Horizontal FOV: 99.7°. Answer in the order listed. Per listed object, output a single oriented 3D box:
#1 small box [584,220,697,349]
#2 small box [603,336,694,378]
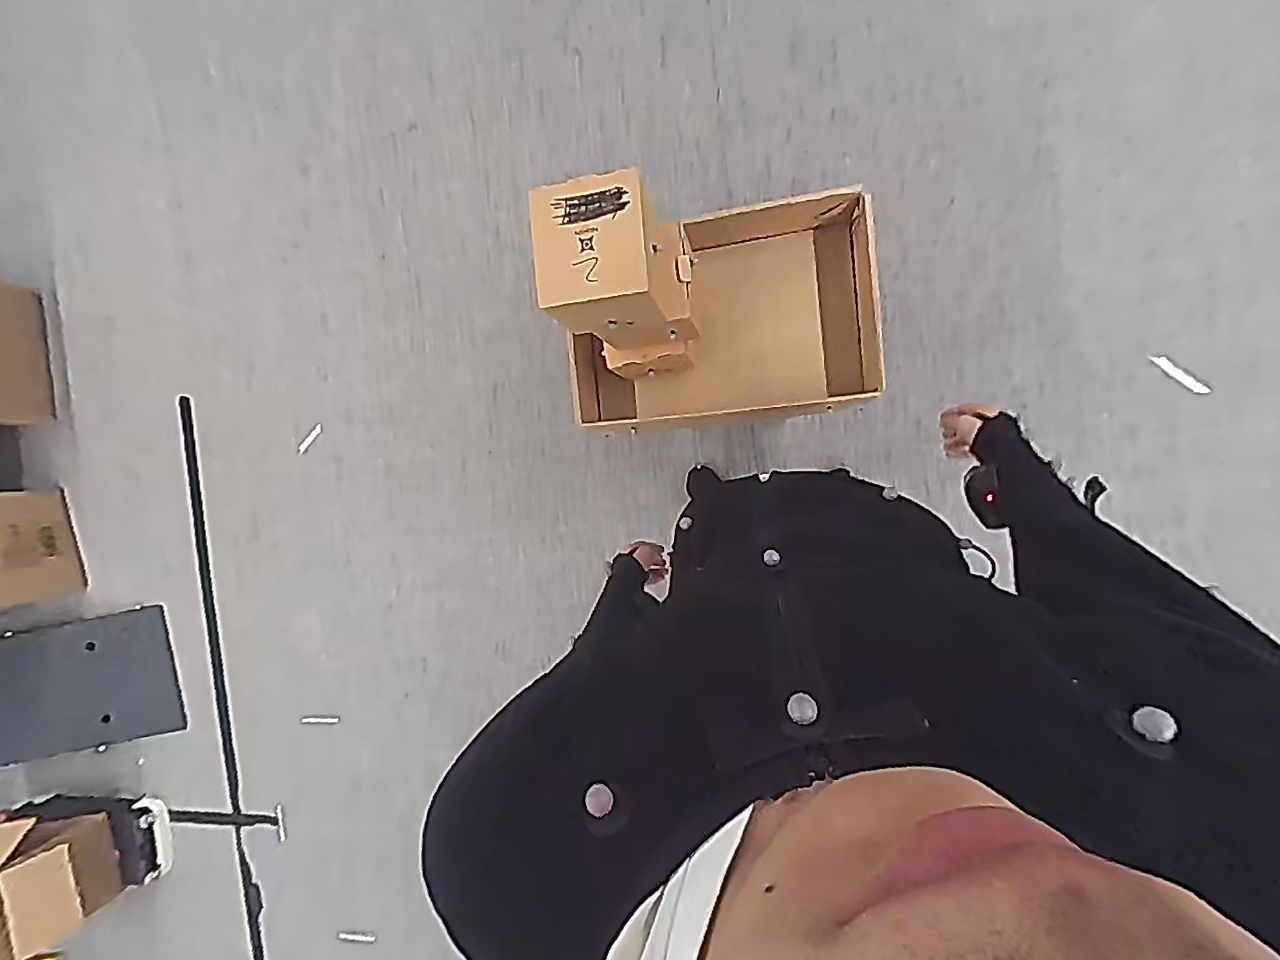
[{"bbox_3d":[0.010,-0.346,0.987,0.179,0.176,0.168,-5,91,12],"label":"small box"},{"bbox_3d":[0.016,-0.328,1.154,0.168,0.176,0.179,-10,91,13],"label":"small box"}]
